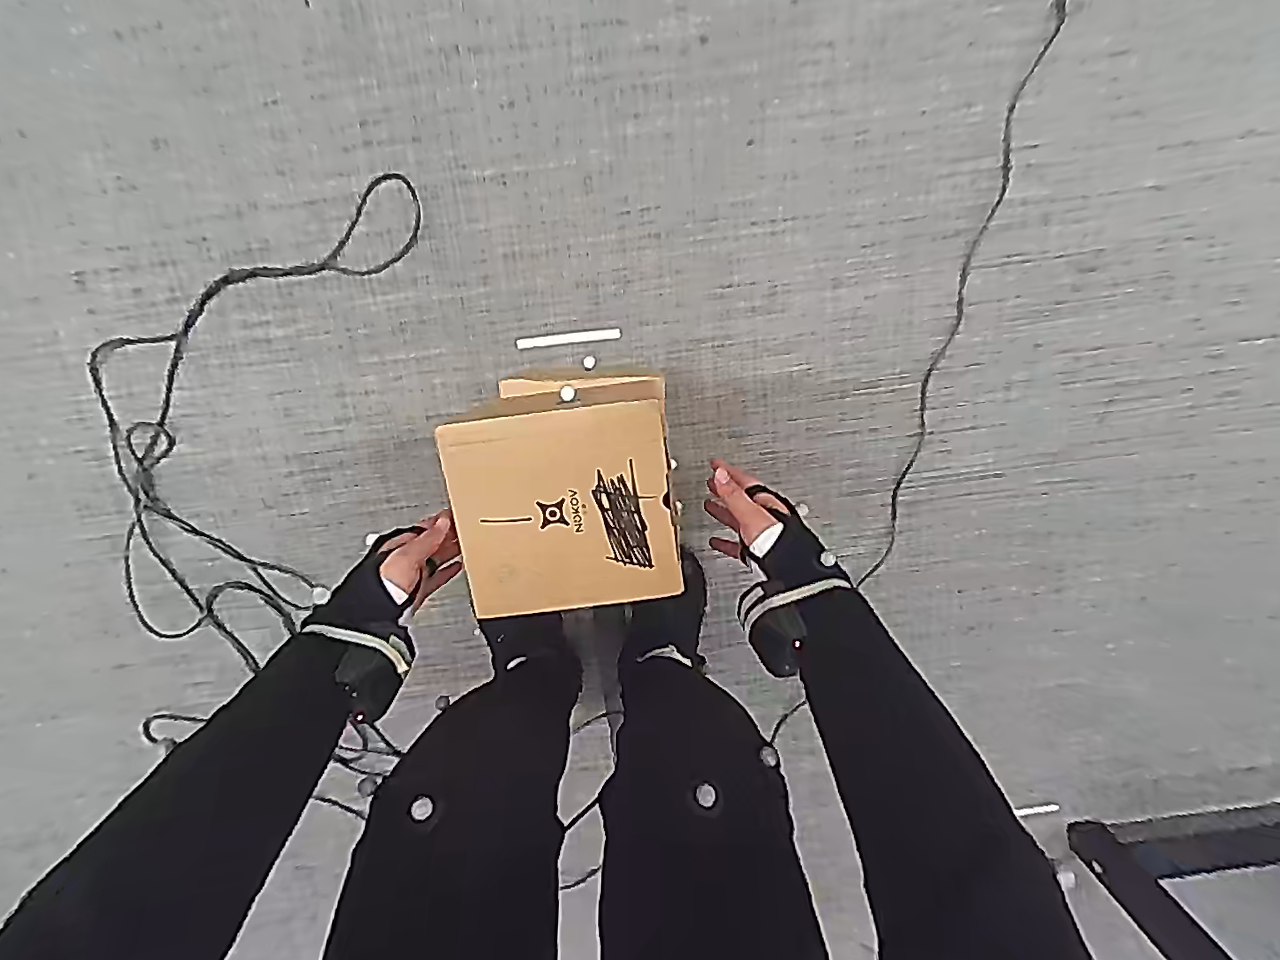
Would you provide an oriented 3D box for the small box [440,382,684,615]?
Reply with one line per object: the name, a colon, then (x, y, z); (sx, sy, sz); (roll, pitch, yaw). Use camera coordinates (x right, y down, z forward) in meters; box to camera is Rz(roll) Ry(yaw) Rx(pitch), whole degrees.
small box: (-0.061, 0.005, 0.509); (0.179, 0.176, 0.168); (-7, 105, 1)
